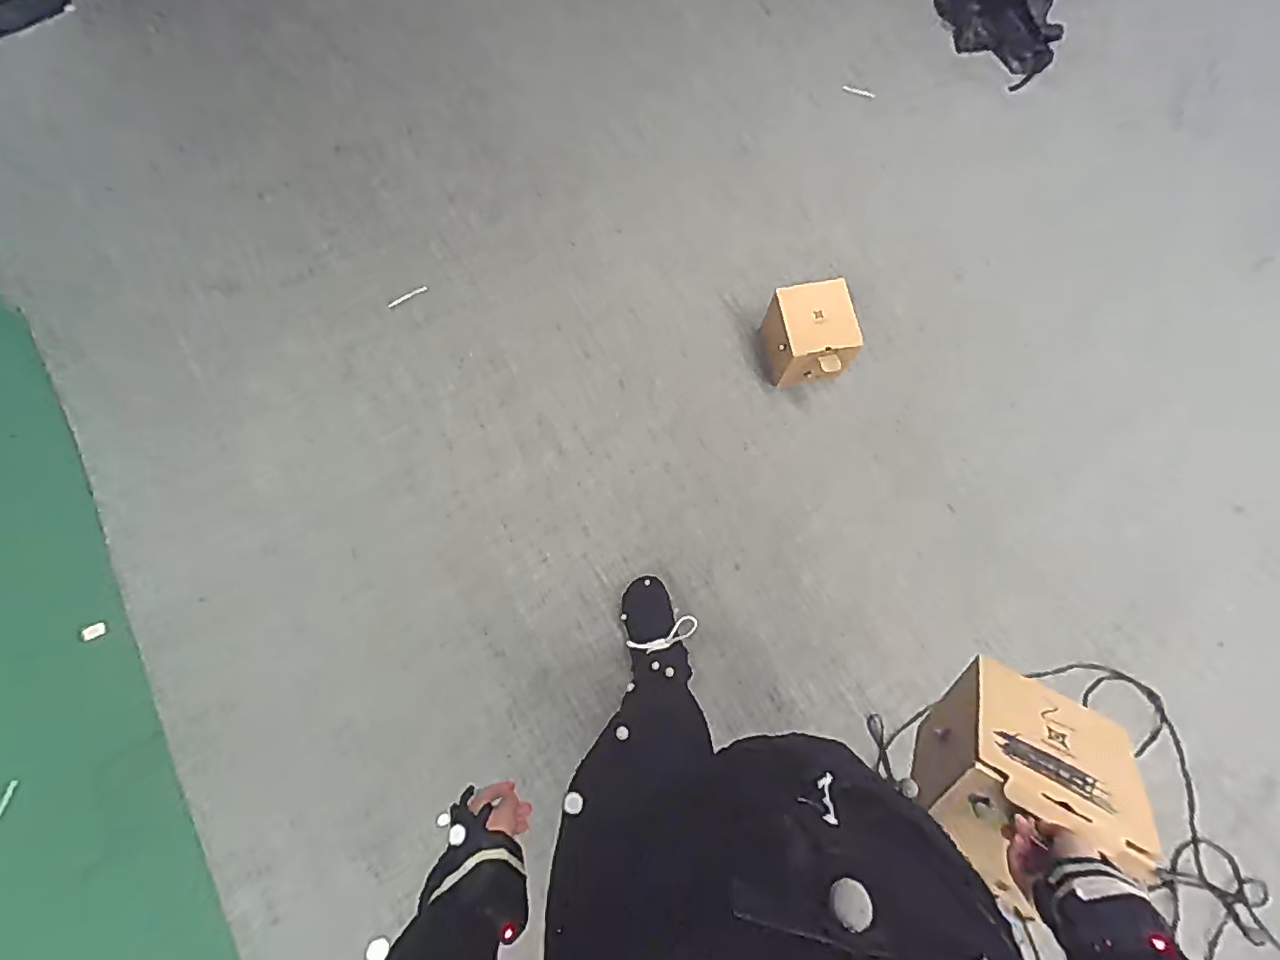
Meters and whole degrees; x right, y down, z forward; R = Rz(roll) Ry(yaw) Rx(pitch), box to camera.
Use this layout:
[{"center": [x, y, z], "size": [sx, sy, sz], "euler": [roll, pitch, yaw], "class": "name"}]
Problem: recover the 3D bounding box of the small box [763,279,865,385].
[{"center": [0.404, -0.348, 1.291], "size": [0.168, 0.176, 0.179], "euler": [-9, 76, -3], "class": "small box"}]
